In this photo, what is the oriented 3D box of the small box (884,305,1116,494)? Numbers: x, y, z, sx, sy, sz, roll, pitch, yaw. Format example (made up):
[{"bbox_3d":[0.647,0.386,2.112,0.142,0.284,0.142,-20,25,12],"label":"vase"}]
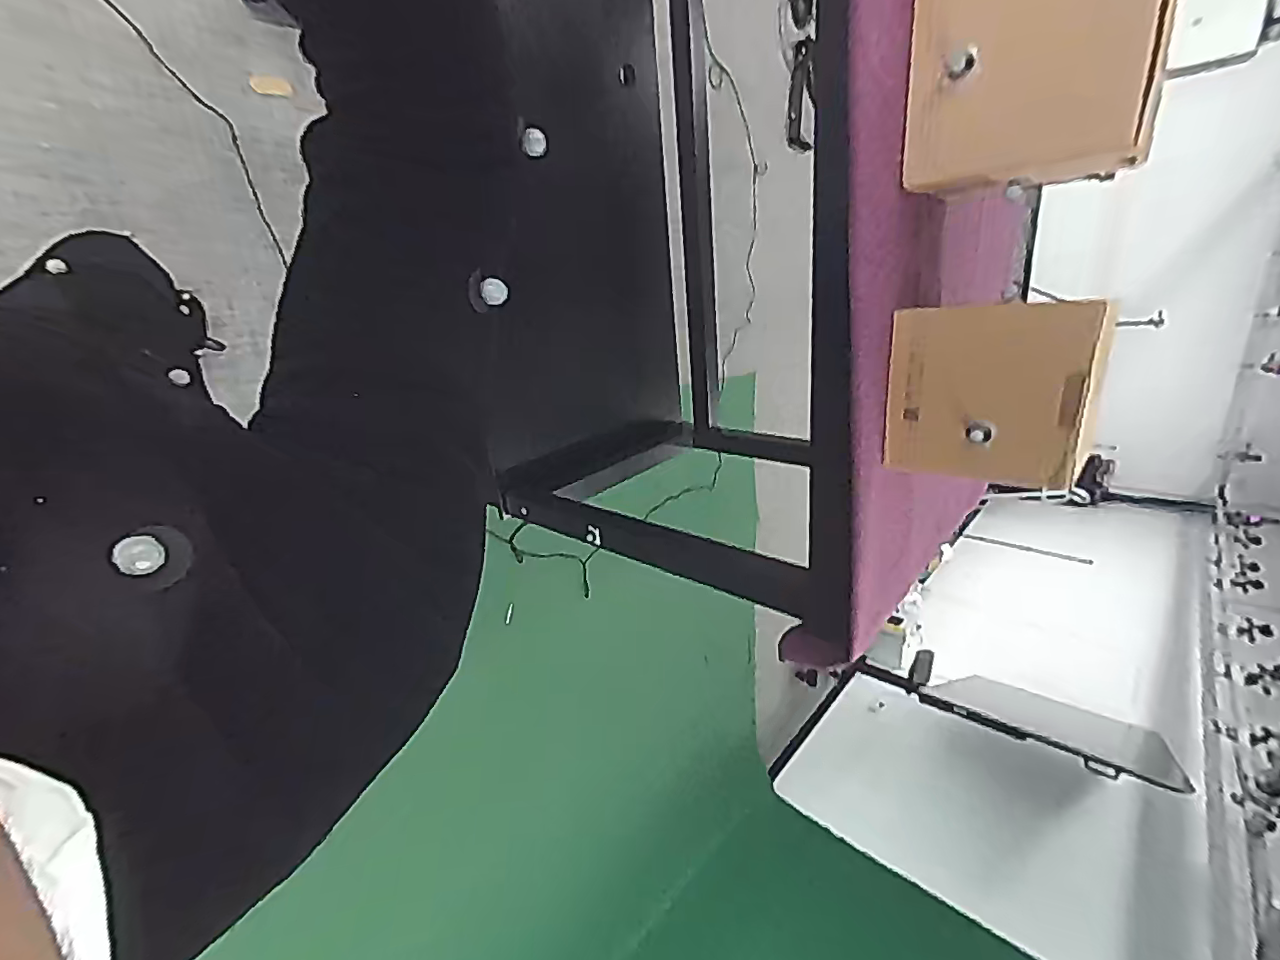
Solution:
[{"bbox_3d":[0.374,-0.094,0.571,0.179,0.176,0.168,-19,113,-45],"label":"small box"}]
